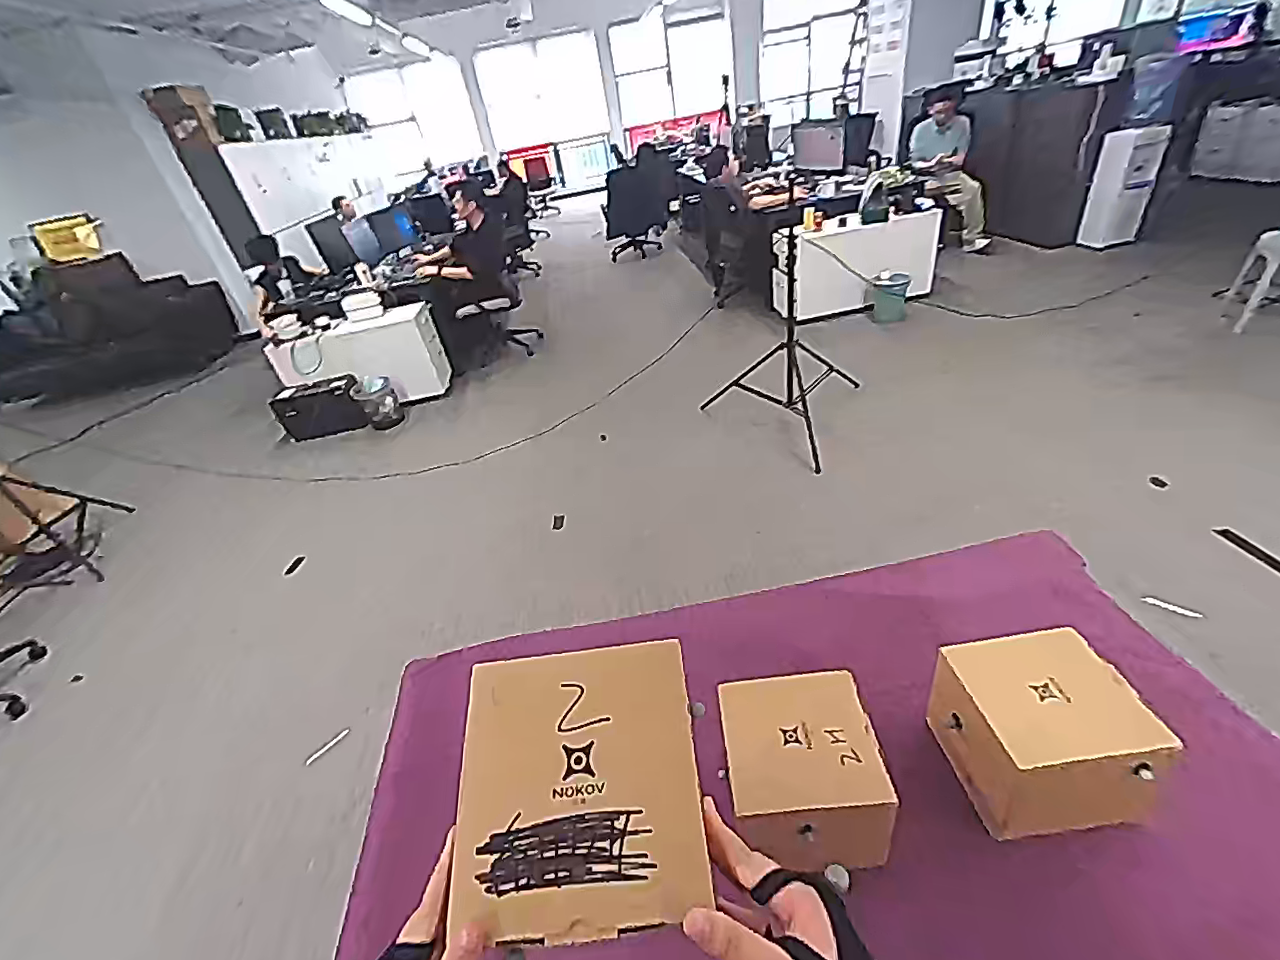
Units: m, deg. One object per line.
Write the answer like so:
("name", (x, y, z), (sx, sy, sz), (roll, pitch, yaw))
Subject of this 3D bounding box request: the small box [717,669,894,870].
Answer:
("small box", (0.200, 0.369, 0.688), (0.179, 0.176, 0.168), (-8, 35, 5))

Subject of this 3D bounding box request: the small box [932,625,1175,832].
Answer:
("small box", (0.495, 0.314, 0.684), (0.179, 0.176, 0.168), (-10, 33, 1))
